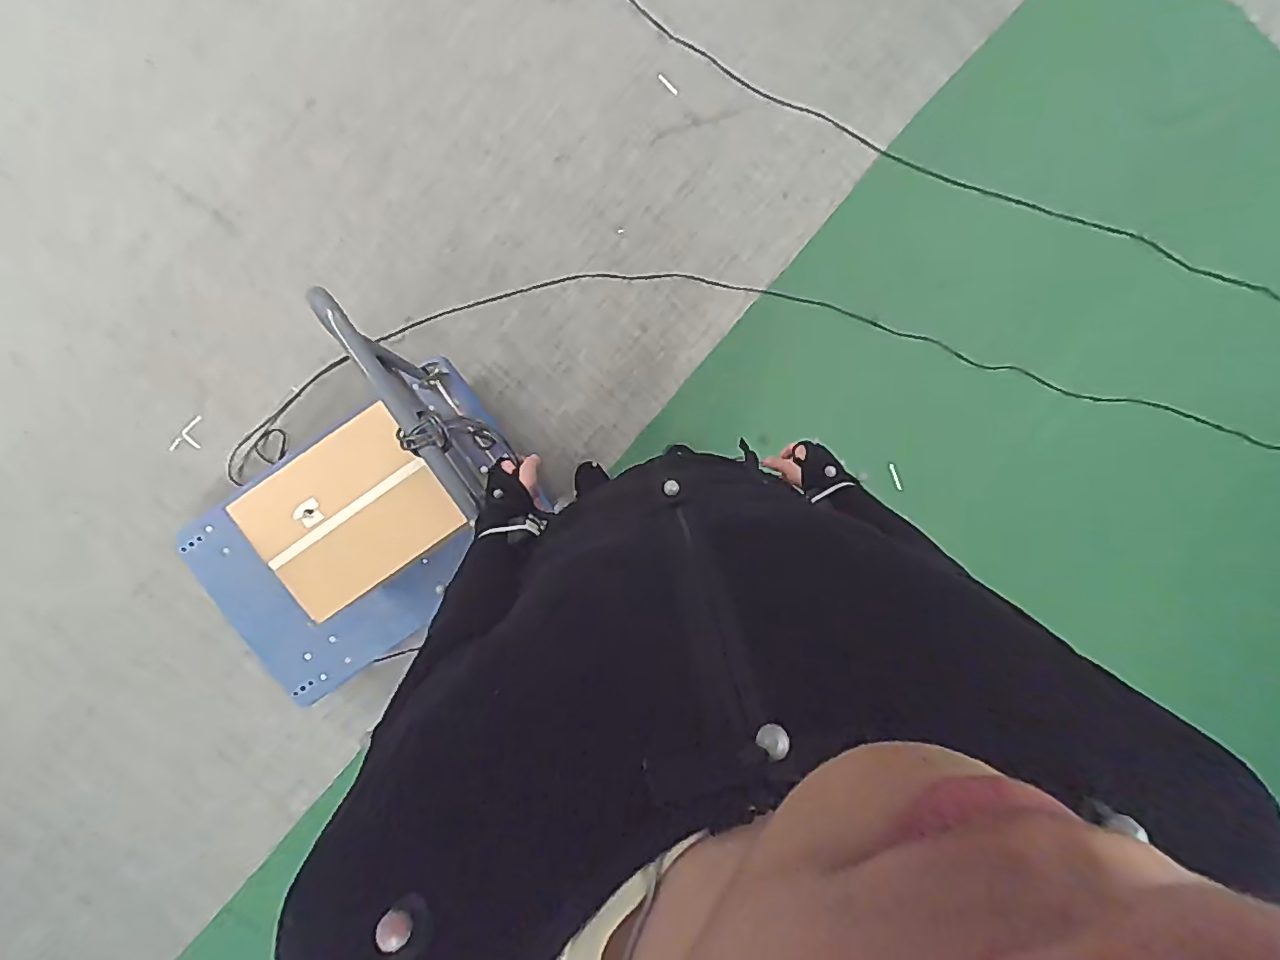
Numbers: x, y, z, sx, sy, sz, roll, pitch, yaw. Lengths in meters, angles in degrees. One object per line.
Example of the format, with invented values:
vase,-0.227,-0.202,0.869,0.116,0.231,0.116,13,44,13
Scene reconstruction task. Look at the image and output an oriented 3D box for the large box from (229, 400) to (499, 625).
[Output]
large box,-0.609,0.058,1.272,0.408,0.320,0.320,-35,93,0
